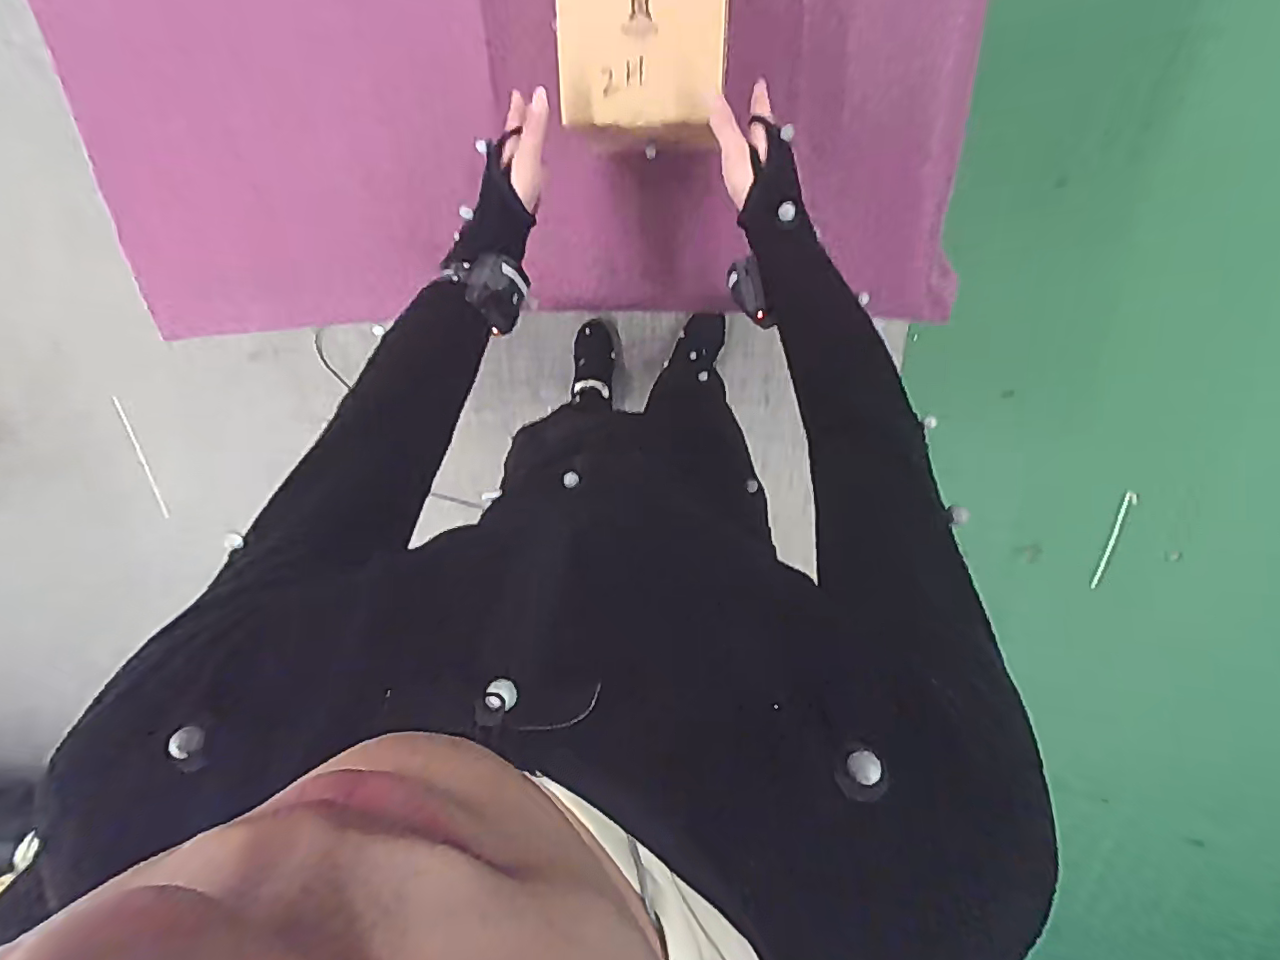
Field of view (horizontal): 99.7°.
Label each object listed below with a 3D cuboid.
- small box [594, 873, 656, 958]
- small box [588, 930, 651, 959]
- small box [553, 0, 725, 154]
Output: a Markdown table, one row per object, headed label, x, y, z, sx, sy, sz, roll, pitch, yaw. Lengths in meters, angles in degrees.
| label | x | y | z | sx | sy | sz | roll | pitch | yaw |
| --- | --- | --- | --- | --- | --- | --- | --- | --- | --- |
| small box | -0.042 | 1.416 | 1.749 | 0.179 | 0.176 | 0.168 | 3 | 113 | 9 |
| small box | -0.066 | 1.479 | 1.599 | 0.179 | 0.176 | 0.168 | 1 | 113 | 9 |
| small box | 0.006 | -0.473 | 0.594 | 0.168 | 0.176 | 0.179 | 4 | 114 | 8 |
